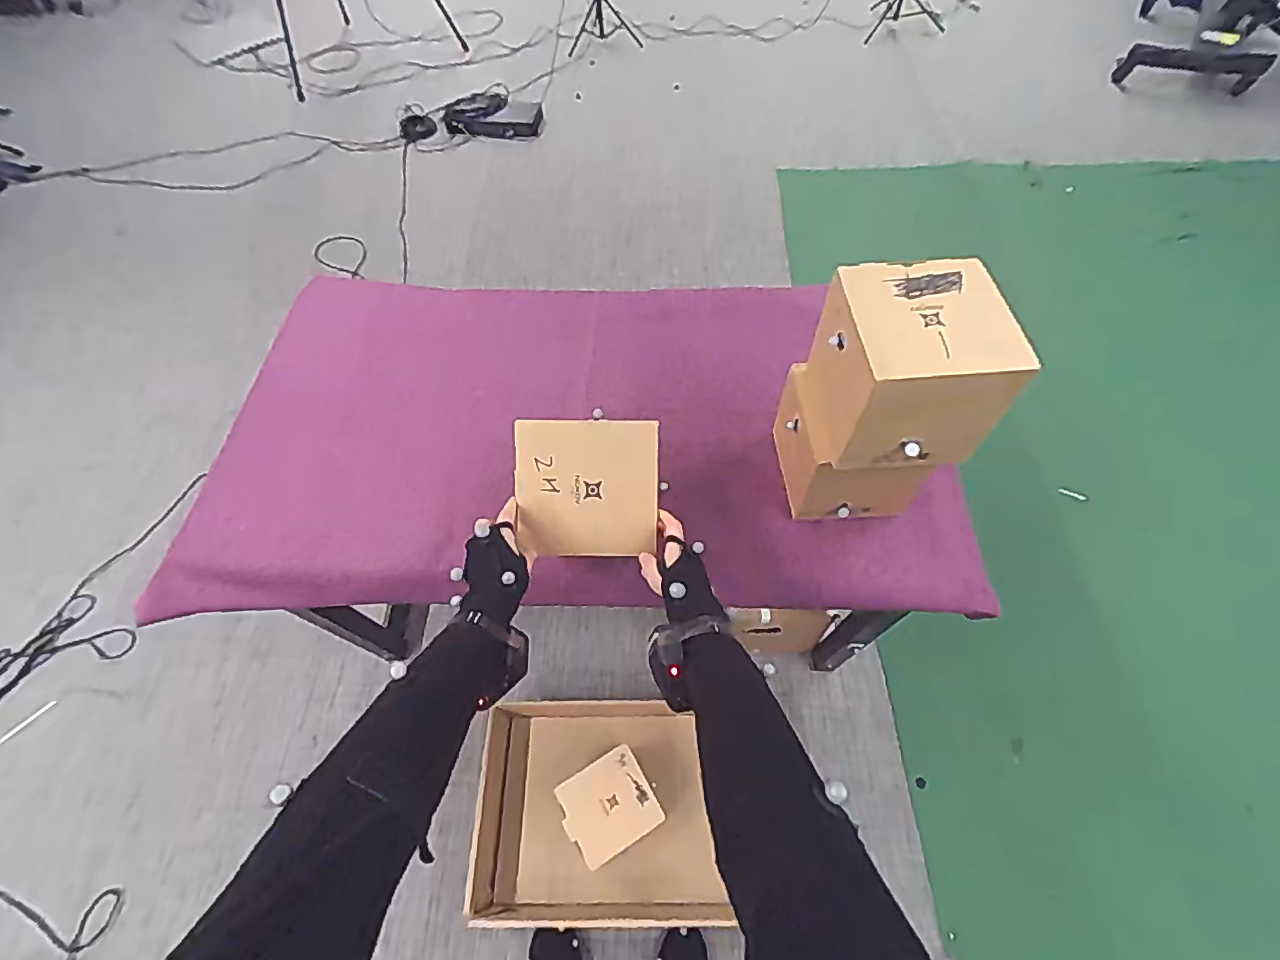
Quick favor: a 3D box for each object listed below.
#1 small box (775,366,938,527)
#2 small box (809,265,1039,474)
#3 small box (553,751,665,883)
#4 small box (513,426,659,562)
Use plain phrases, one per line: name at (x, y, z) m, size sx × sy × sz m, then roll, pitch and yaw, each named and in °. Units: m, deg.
small box at (0.301, -0.049, 0.788) m, size 0.168 × 0.176 × 0.179 m, roll -4°, pitch 57°, yaw 2°
small box at (0.311, -0.126, 0.642) m, size 0.168 × 0.176 × 0.179 m, roll -4°, pitch 57°, yaw 2°
small box at (-0.058, 0.704, 1.138) m, size 0.179 × 0.176 × 0.168 m, roll -28°, pitch 61°, yaw -13°
small box at (-0.065, 0.011, 0.728) m, size 0.179 × 0.176 × 0.168 m, roll 0°, pitch 94°, yaw 1°
